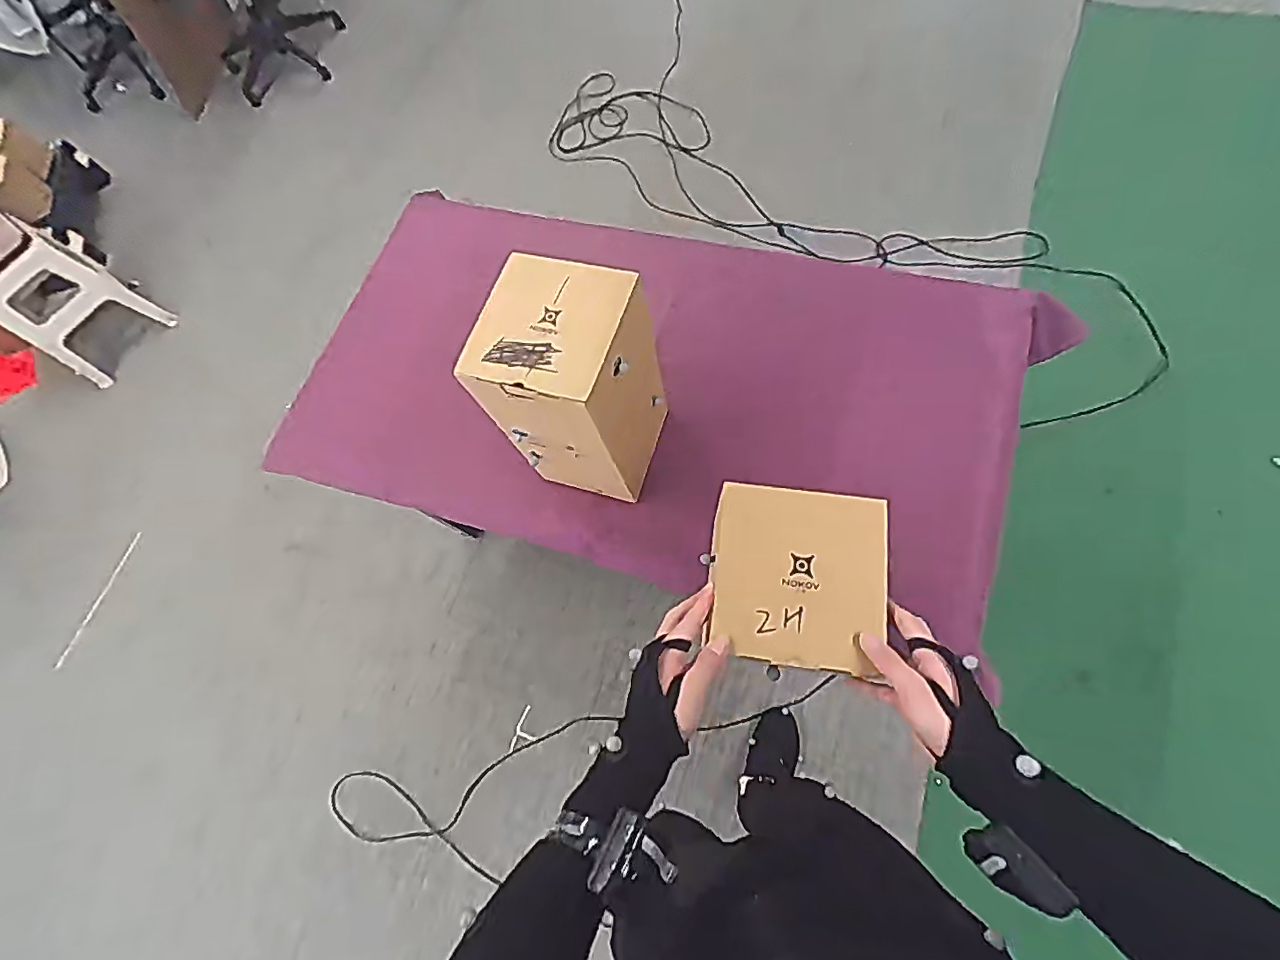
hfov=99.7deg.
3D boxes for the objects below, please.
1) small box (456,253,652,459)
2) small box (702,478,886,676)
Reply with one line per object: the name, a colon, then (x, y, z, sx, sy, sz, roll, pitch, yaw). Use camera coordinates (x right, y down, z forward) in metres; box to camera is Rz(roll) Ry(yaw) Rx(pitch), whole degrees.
small box: (-0.091, -0.147, 0.678, 0.168, 0.176, 0.179, 16, 72, 14)
small box: (0.162, 0.114, 0.609, 0.168, 0.176, 0.179, 7, 73, 7)
